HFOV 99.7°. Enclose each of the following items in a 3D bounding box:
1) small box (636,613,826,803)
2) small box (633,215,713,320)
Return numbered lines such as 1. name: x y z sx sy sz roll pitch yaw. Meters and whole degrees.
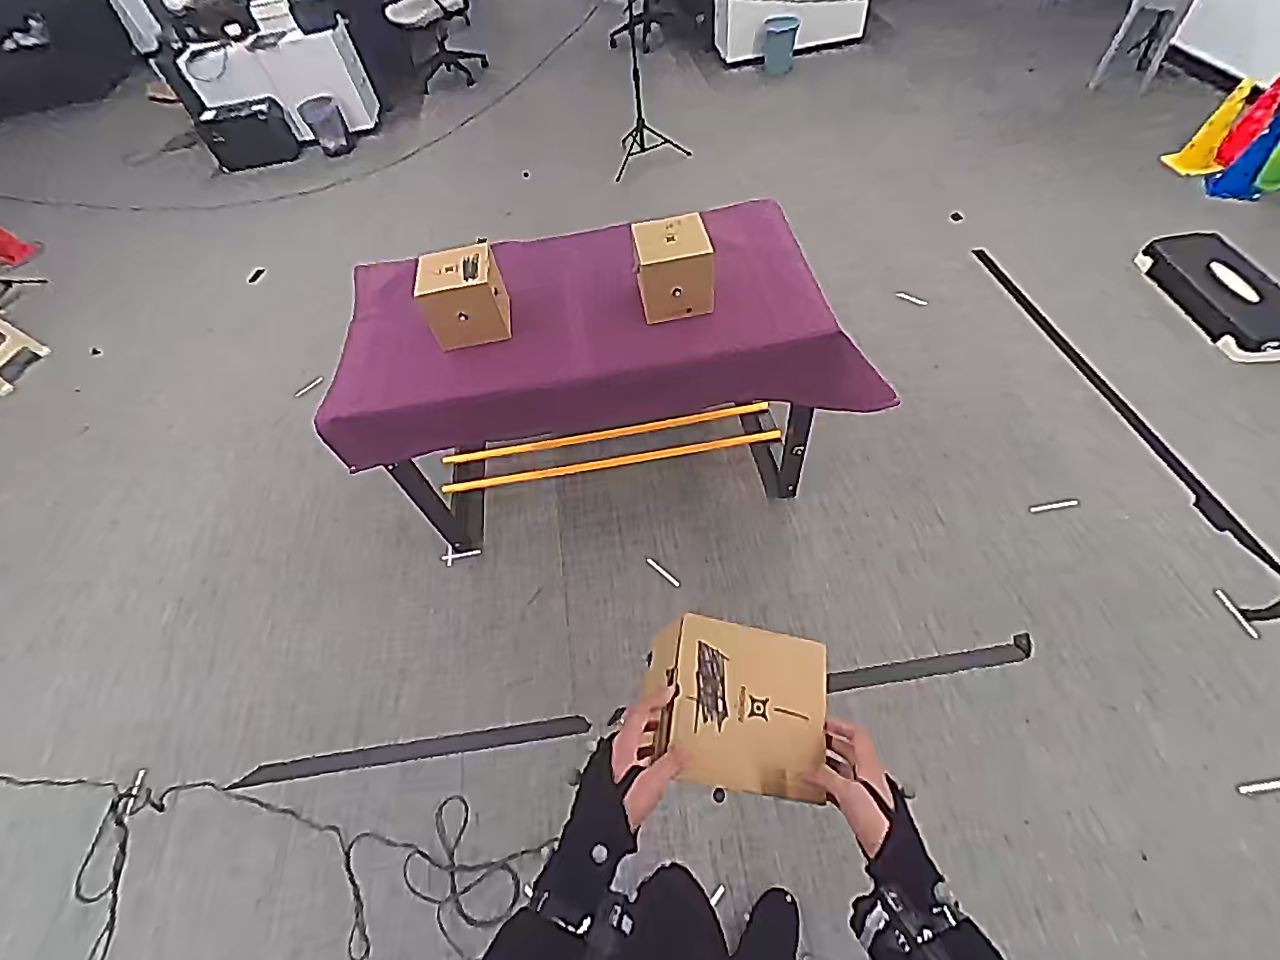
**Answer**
1. small box: 0.102 0.274 0.650 0.179 0.176 0.168 14 62 -7
2. small box: 0.082 -0.508 1.314 0.168 0.176 0.179 -10 55 0
